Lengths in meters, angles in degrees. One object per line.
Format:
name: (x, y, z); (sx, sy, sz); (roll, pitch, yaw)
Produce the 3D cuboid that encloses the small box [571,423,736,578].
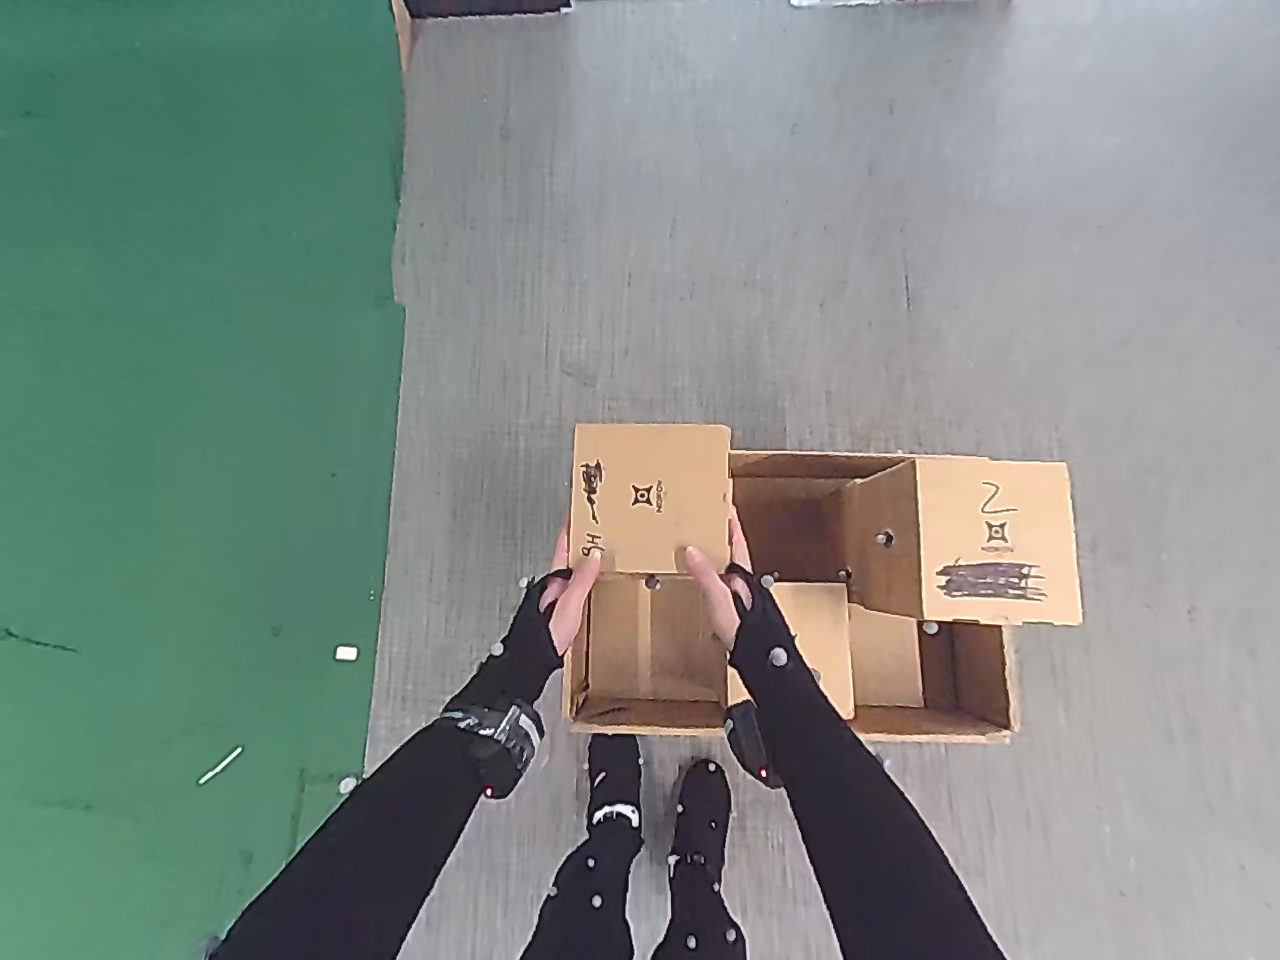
small box: (0.018, 0.034, 0.665); (0.179, 0.176, 0.168); (2, 79, 3)
